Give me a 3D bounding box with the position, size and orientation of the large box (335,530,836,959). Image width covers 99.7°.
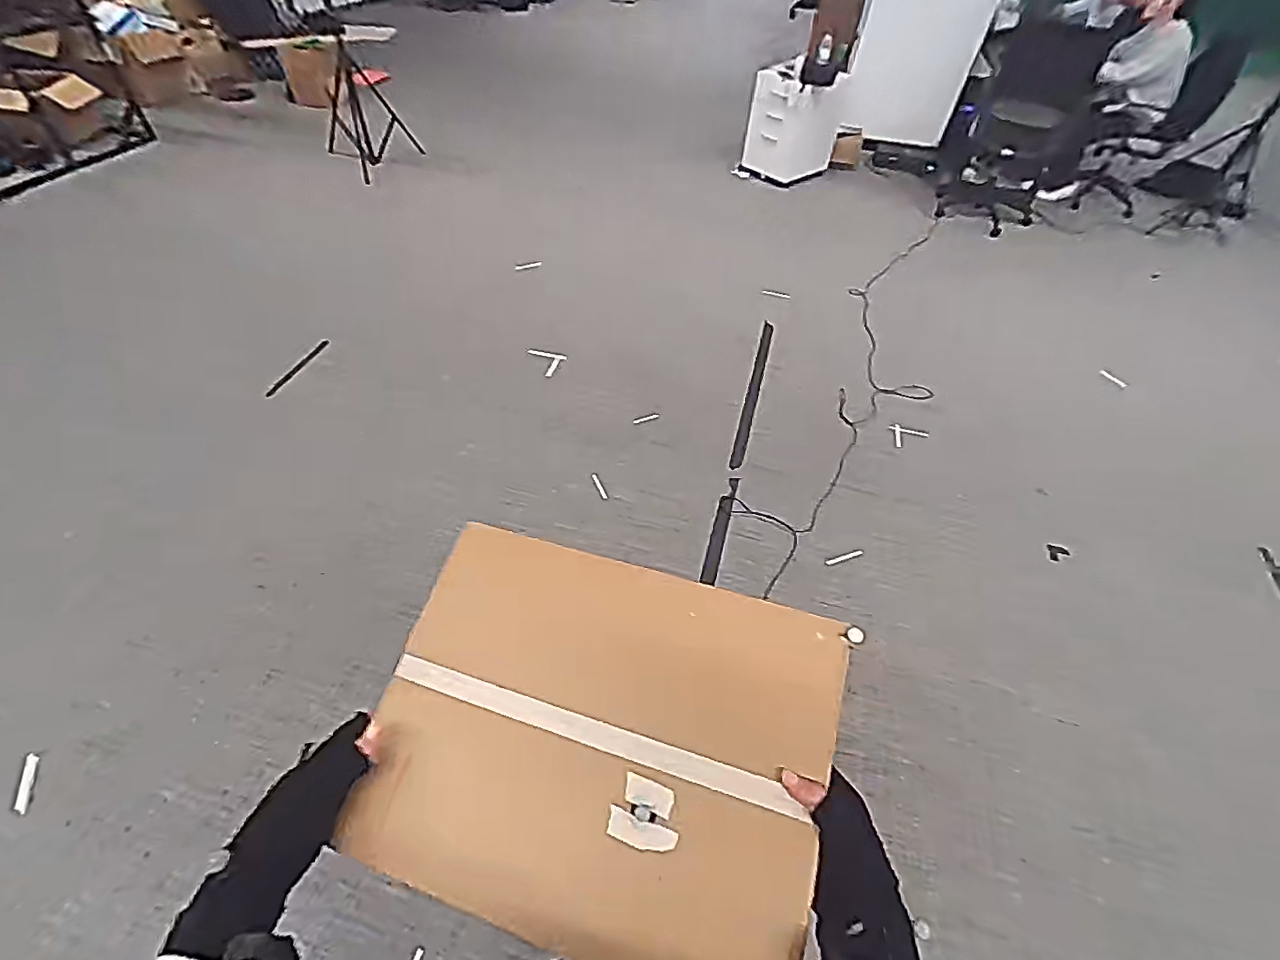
[{"bbox_3d":[-0.029,0.292,0.630,0.408,0.320,0.320,13,67,13],"label":"large box"}]
